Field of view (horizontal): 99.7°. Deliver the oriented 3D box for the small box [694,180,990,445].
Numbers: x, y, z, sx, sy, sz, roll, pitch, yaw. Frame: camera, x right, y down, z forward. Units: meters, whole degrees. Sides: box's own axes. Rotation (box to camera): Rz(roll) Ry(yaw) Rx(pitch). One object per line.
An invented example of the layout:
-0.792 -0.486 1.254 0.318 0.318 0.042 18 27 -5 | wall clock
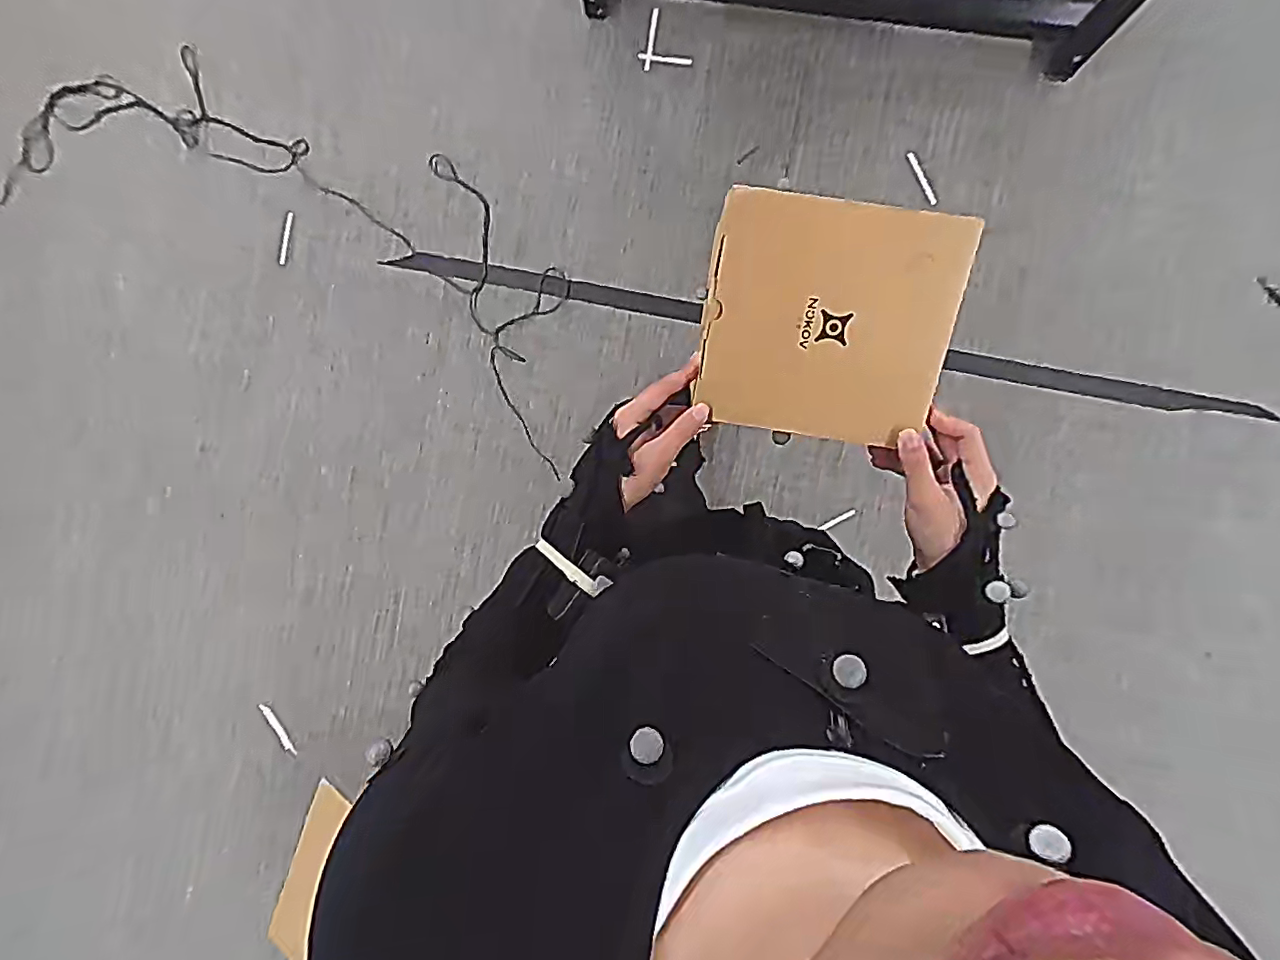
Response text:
0.146 -0.140 0.464 0.179 0.176 0.168 9 108 4 | small box
